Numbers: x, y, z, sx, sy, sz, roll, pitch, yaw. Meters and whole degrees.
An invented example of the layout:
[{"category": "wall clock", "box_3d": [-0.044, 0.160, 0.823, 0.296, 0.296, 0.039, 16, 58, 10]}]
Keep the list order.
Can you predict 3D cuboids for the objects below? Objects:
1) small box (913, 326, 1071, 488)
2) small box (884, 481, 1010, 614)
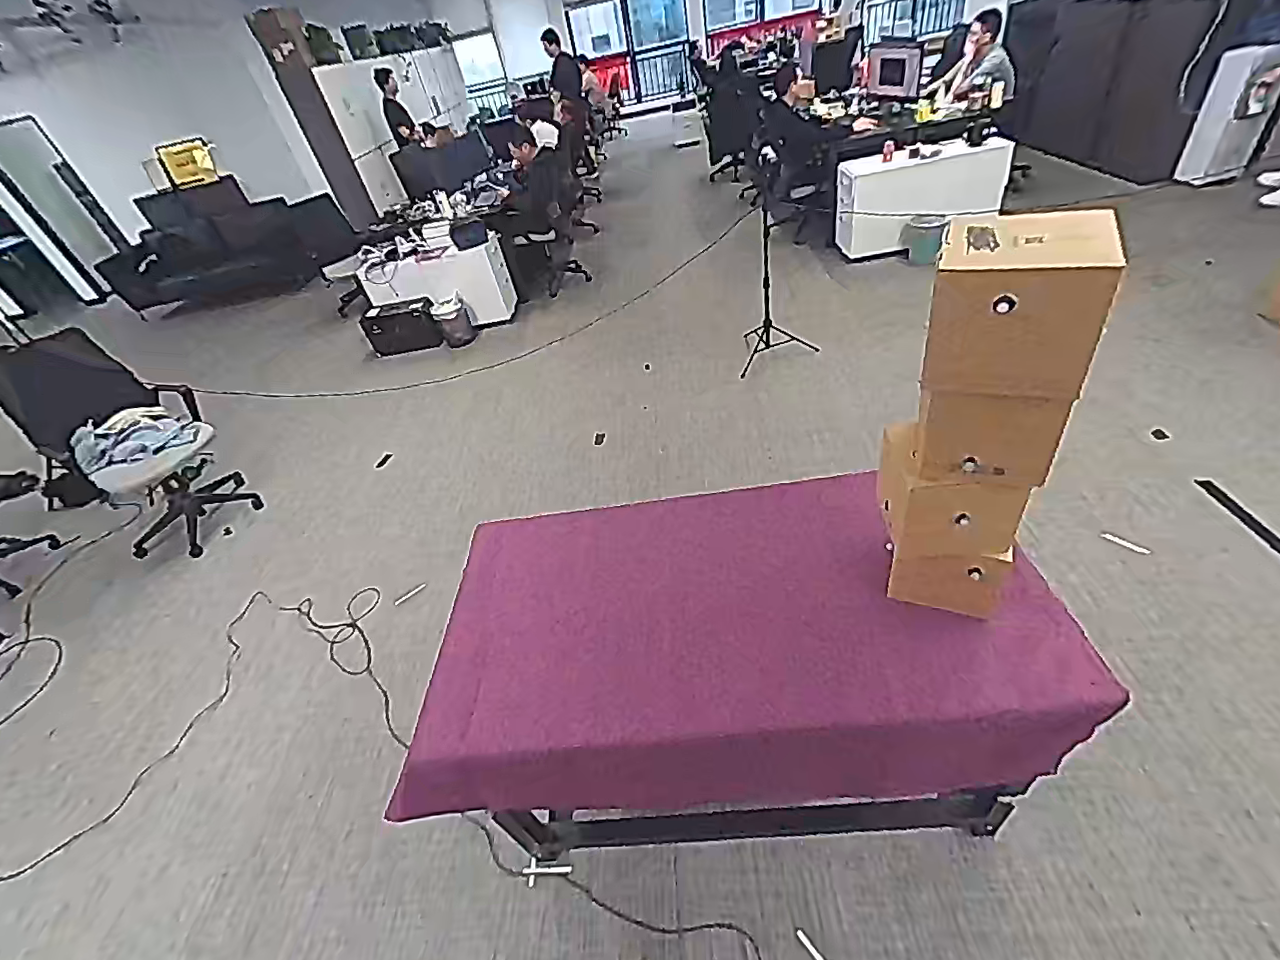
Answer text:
[{"category": "small box", "box_3d": [0.510, -0.112, 0.809, 0.168, 0.176, 0.179, 5, 45, 24]}, {"category": "small box", "box_3d": [0.575, 0.128, 1.022, 0.179, 0.176, 0.168, 10, 45, 26]}]
